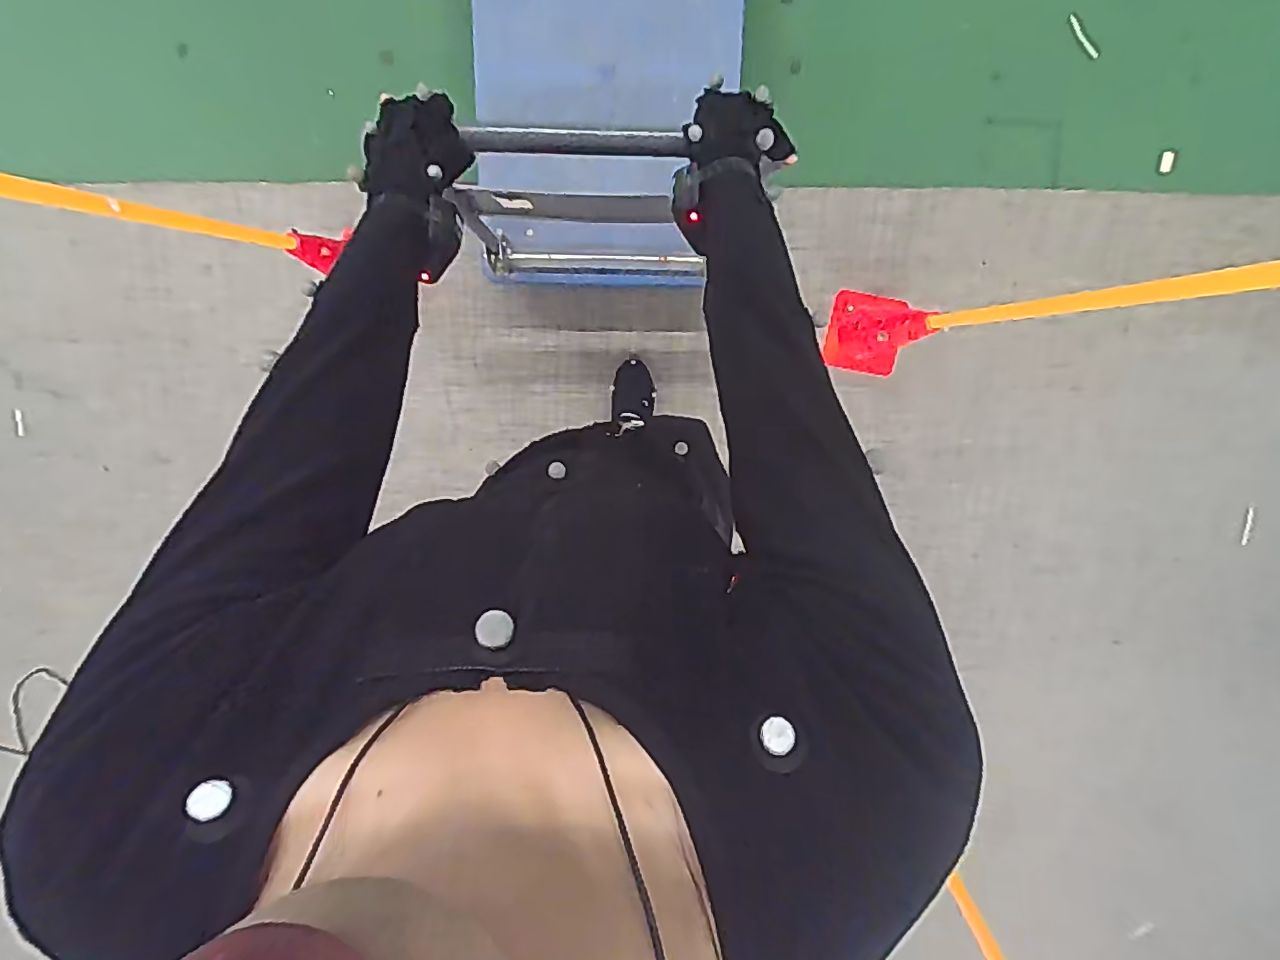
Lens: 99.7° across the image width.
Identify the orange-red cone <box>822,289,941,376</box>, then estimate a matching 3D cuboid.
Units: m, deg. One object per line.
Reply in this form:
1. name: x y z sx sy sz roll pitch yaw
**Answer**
1. orange-red cone: 0.593 -0.353 1.260 0.198 0.360 0.199 12 102 -2
